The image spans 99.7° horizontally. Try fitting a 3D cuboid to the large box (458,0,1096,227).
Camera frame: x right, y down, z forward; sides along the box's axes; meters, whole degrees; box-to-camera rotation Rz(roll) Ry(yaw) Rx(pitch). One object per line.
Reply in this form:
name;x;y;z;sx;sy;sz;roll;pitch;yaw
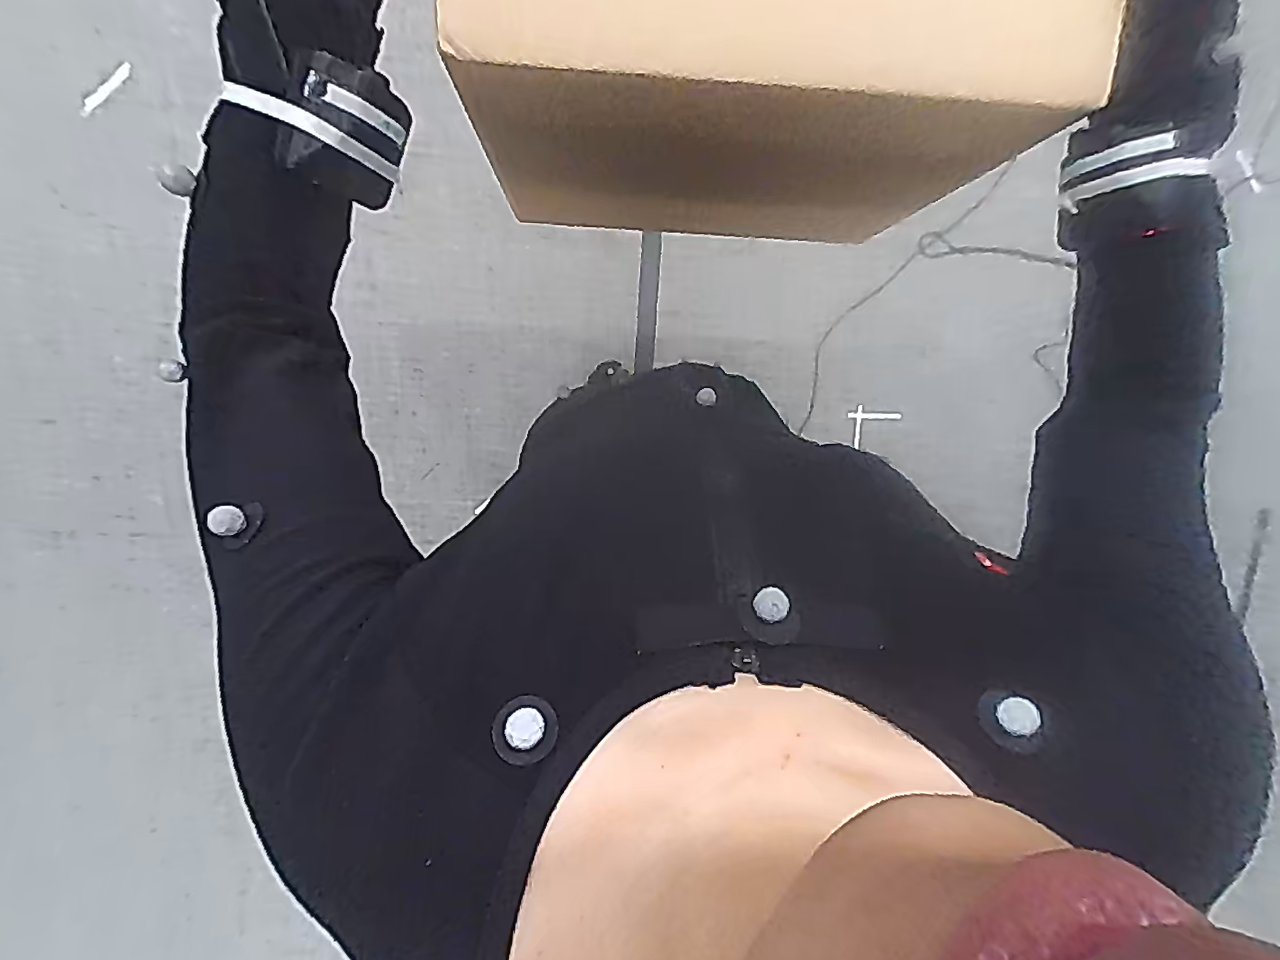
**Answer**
large box;0.077;-0.424;0.455;0.408;0.320;0.320;0;100;-5
